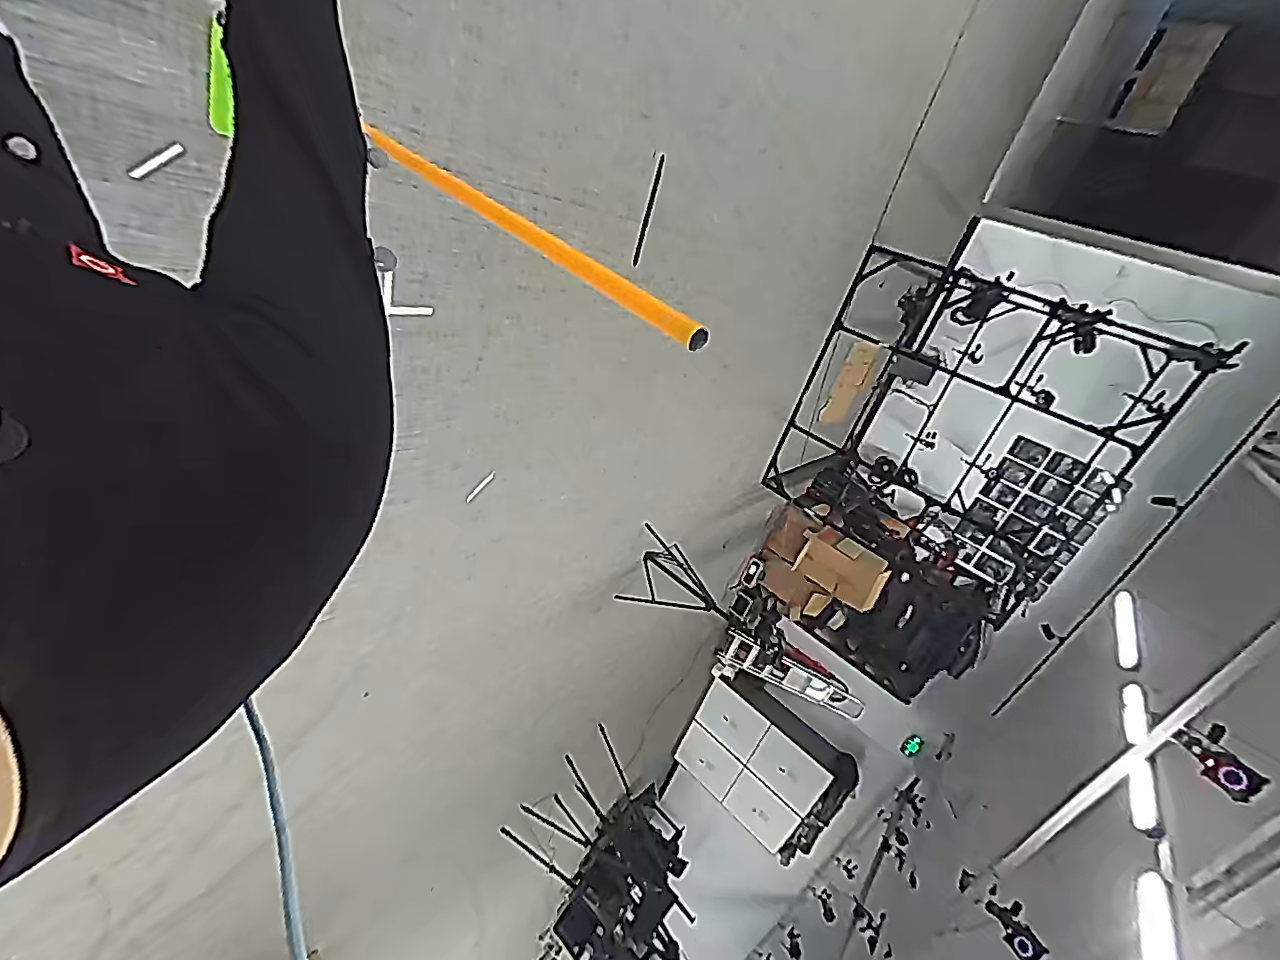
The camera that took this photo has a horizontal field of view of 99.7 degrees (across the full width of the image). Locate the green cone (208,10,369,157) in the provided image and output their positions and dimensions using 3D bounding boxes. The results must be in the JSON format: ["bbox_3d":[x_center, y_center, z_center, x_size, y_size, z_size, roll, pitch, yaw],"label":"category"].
[{"bbox_3d":[-0.624,-0.703,1.014,0.202,0.368,0.200,-13,131,-53],"label":"green cone"}]
